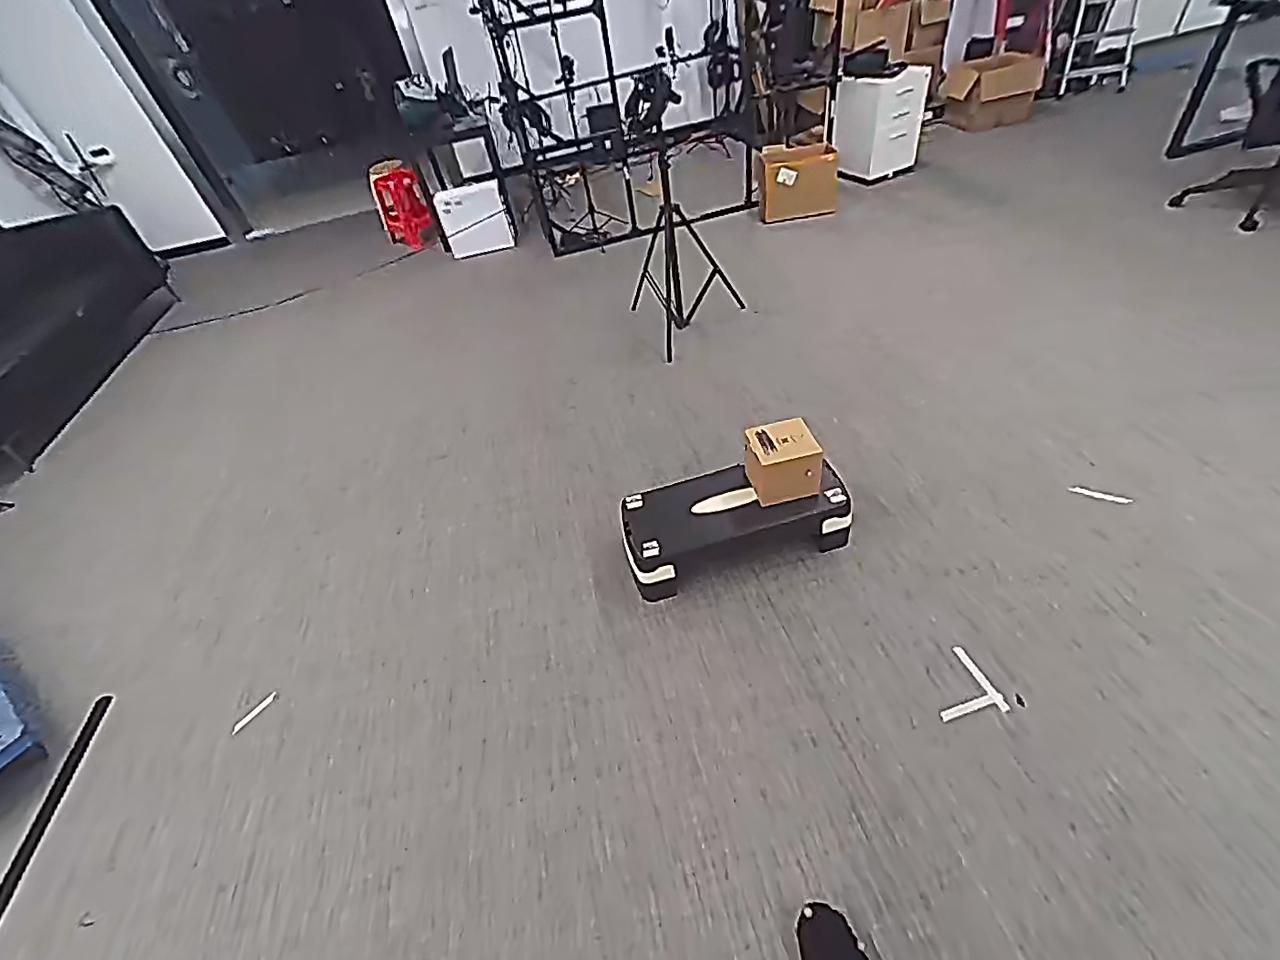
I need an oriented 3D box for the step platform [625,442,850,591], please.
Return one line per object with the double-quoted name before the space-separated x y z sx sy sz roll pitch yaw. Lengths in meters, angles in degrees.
"step platform" 0.295 0.106 1.702 0.684 0.204 0.286 -16 43 -3
